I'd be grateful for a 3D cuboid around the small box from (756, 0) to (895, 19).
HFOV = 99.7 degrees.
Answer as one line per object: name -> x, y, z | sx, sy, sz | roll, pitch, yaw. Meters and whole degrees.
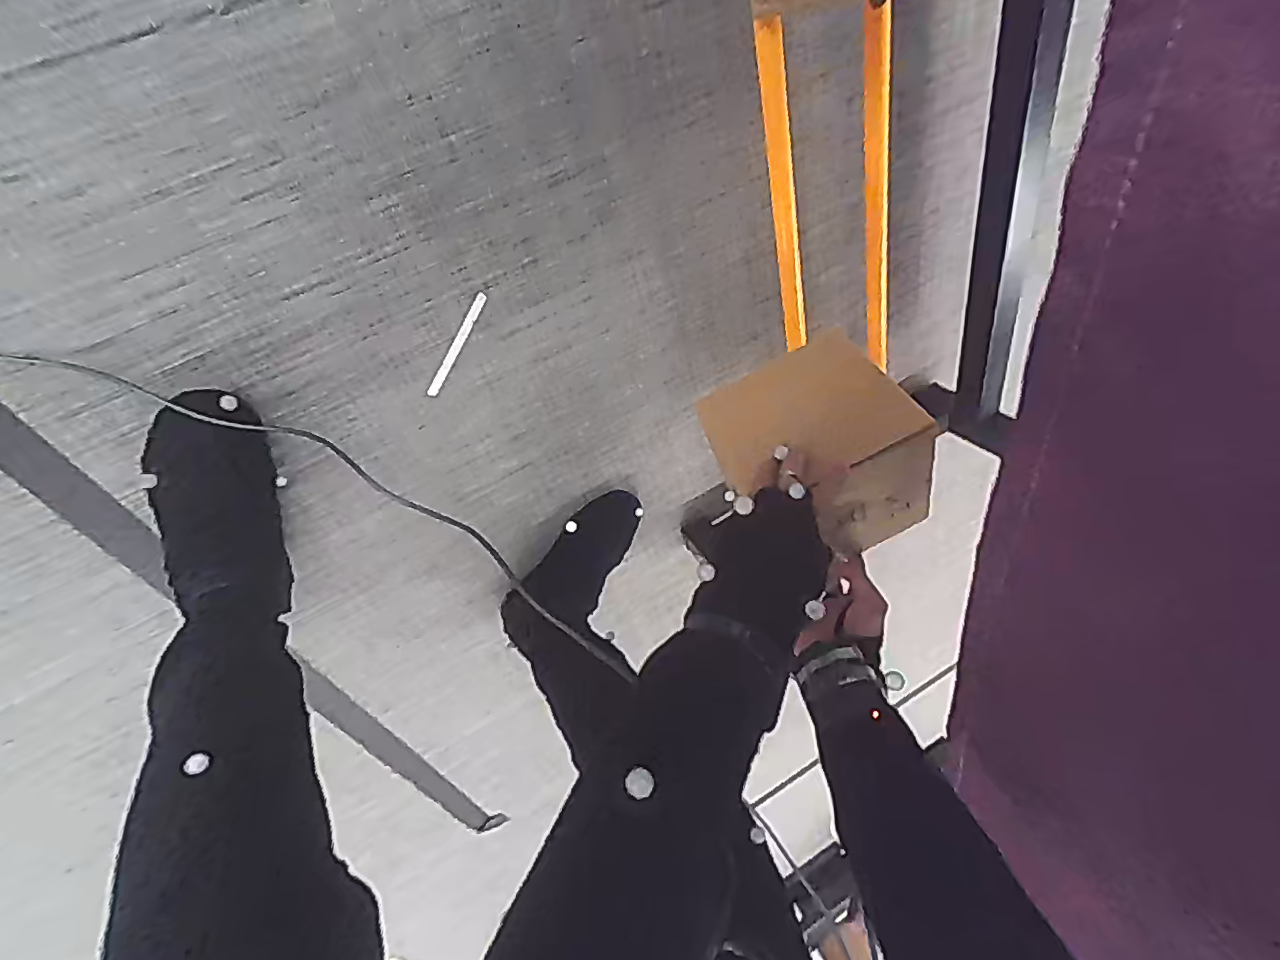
small box -> 0.181, -0.474, 0.396 | 0.168, 0.176, 0.179 | -29, 130, -9
